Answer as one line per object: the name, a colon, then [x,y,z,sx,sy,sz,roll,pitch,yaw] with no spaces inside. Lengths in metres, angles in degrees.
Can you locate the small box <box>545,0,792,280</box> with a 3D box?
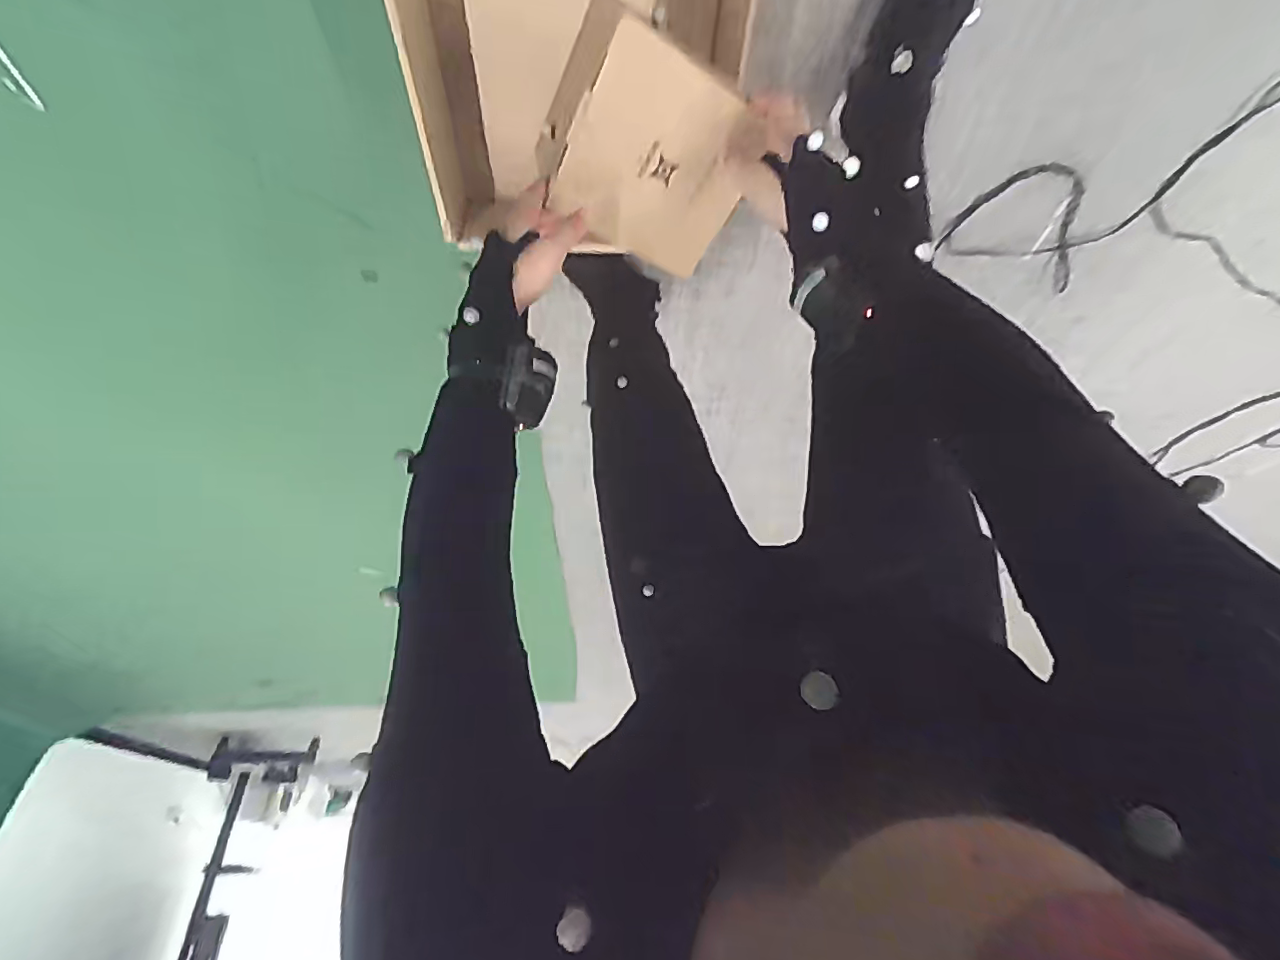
small box: [0.013,-0.344,0.551,0.179,0.176,0.168,14,132,-28]
